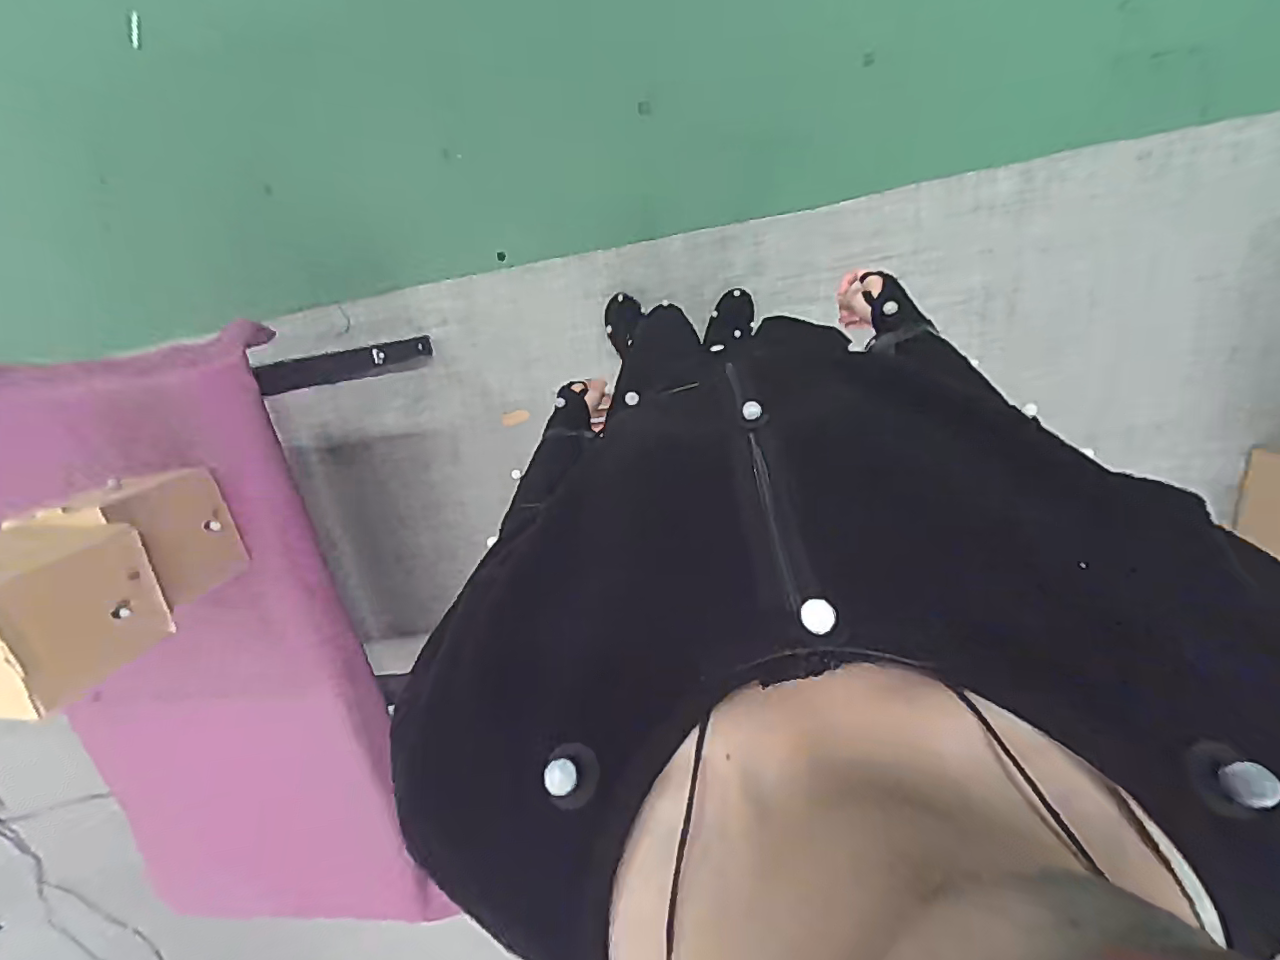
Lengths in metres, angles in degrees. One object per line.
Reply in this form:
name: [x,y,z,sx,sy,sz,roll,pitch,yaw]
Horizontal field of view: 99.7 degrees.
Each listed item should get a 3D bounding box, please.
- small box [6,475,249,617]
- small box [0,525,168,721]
small box: [-0.745,0.099,0.809,0.168,0.176,0.179,-7,108,11]
small box: [-0.743,0.162,0.656,0.179,0.176,0.168,0,109,7]
